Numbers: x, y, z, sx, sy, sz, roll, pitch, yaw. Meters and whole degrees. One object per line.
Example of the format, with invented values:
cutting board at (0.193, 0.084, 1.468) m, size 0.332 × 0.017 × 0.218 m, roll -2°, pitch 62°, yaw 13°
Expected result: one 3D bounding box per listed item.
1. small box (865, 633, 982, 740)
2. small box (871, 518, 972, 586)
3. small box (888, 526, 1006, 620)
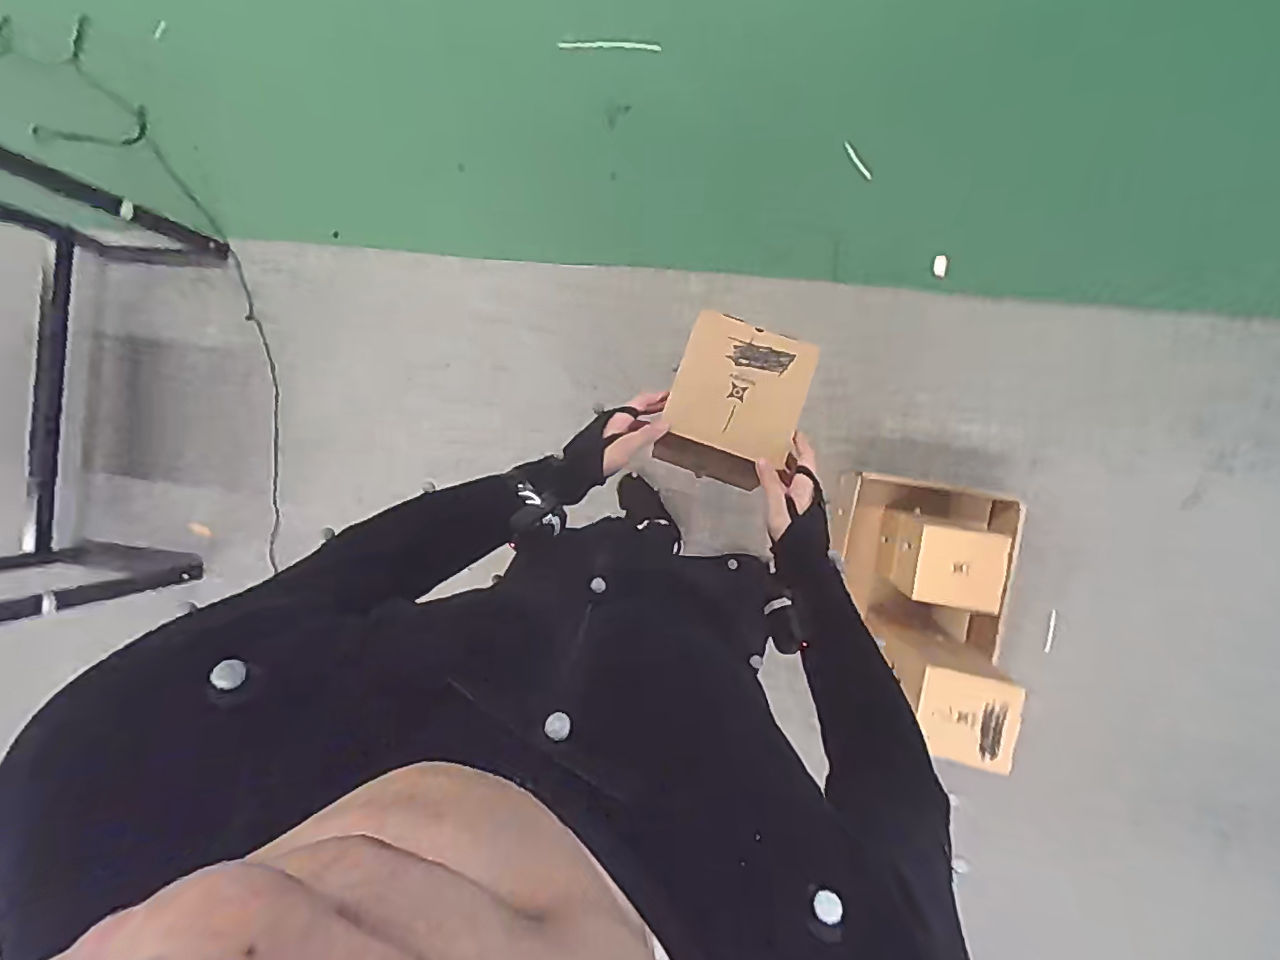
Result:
small box at (0.638, 0.461, 1.236) m, size 0.179 × 0.176 × 0.168 m, roll 9°, pitch 90°, yaw 8°
small box at (0.709, 0.194, 1.383) m, size 0.179 × 0.176 × 0.168 m, roll 10°, pitch 93°, yaw 9°
small box at (0.682, 0.201, 1.224) m, size 0.179 × 0.176 × 0.168 m, roll 8°, pitch 92°, yaw 8°
